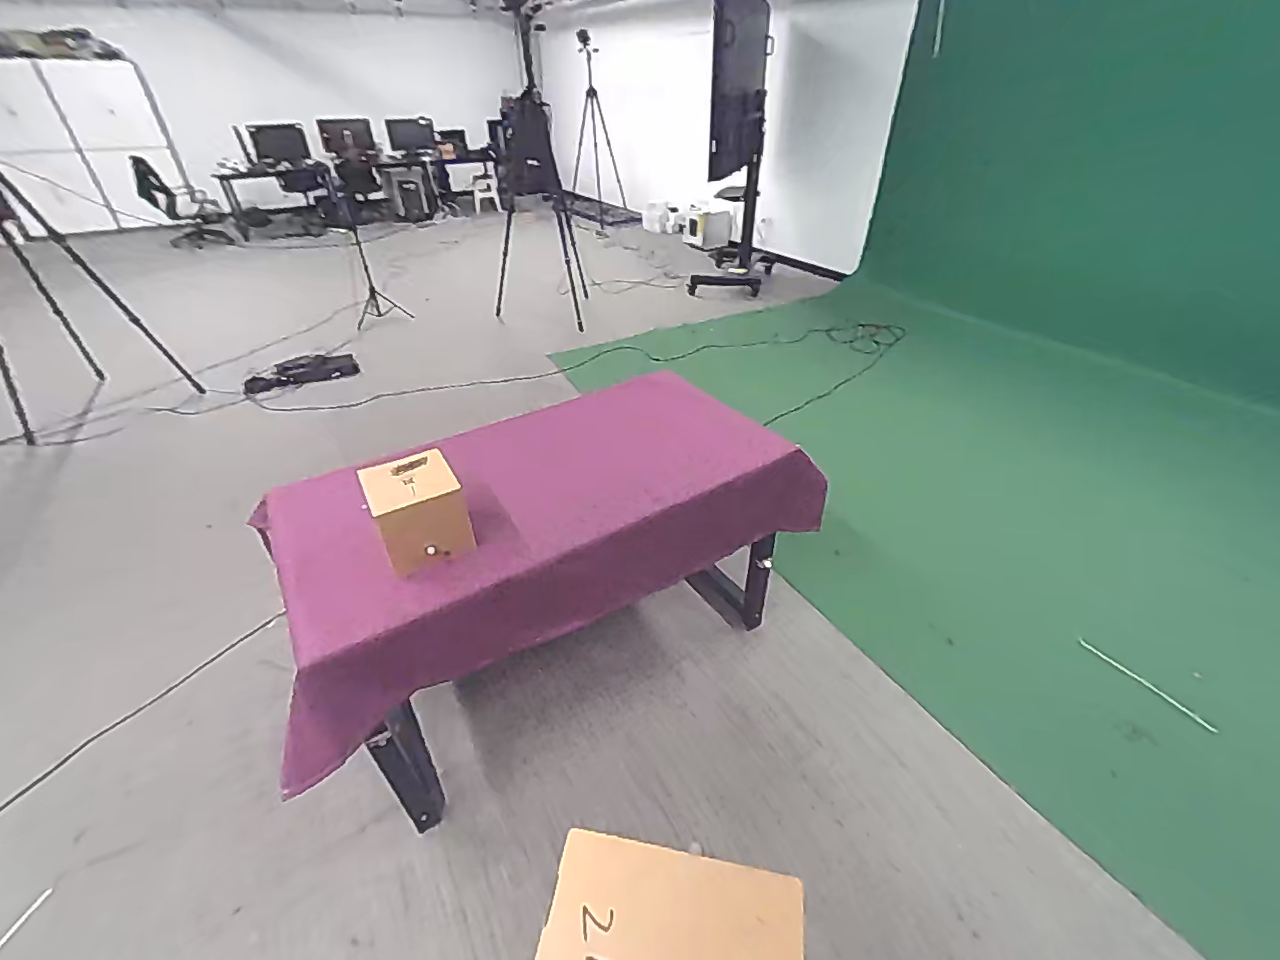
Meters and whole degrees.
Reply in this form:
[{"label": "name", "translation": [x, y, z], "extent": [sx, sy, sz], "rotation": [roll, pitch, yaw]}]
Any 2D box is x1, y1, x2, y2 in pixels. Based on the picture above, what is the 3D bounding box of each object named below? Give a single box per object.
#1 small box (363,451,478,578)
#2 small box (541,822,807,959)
[{"label": "small box", "translation": [-0.454, 0.070, 1.126], "extent": [0.168, 0.176, 0.179], "rotation": [-21, 41, -25]}, {"label": "small box", "translation": [0.023, 0.386, 0.405], "extent": [0.179, 0.176, 0.168], "rotation": [5, 45, 11]}]
